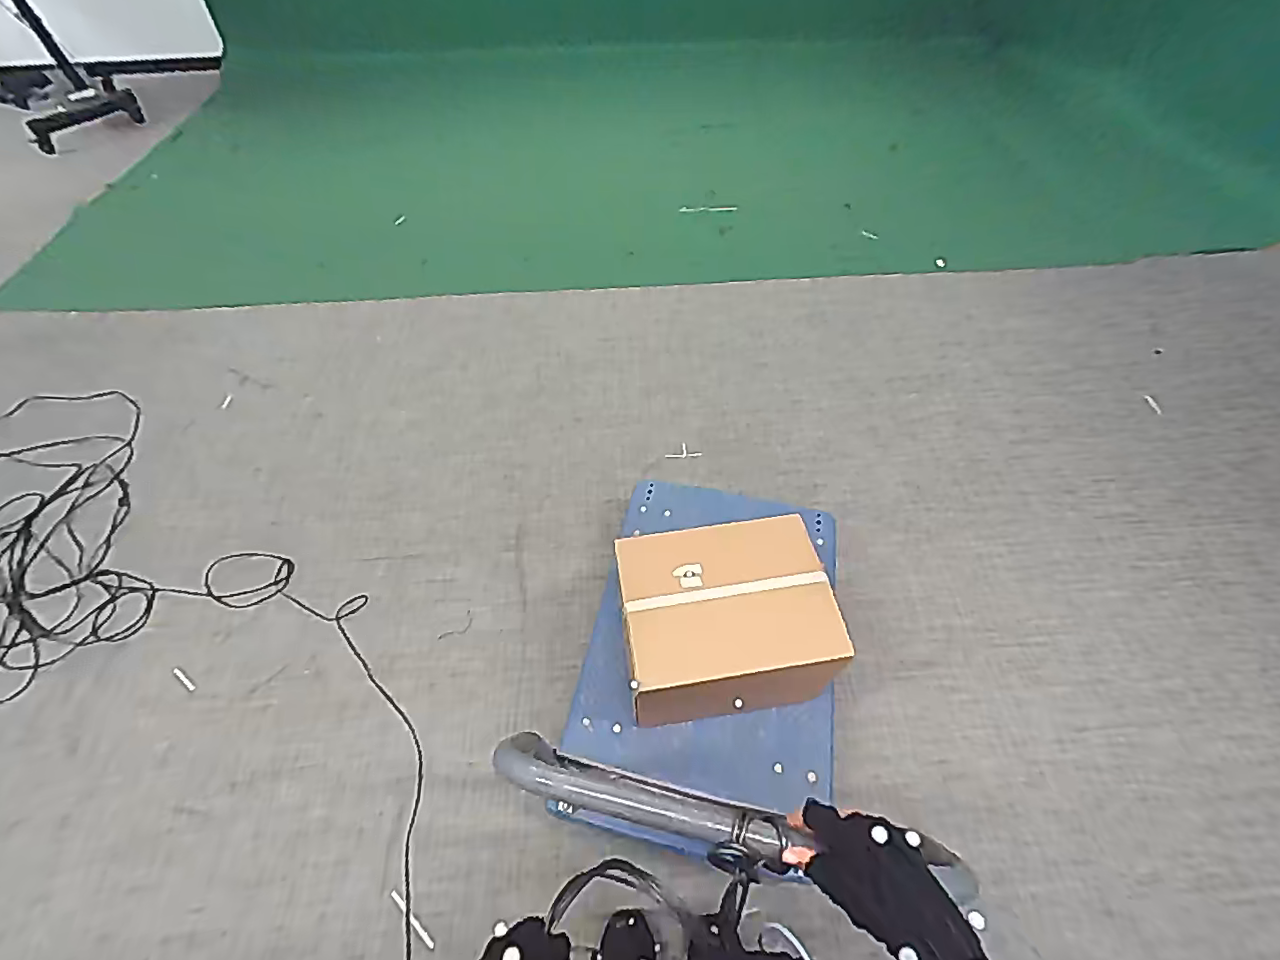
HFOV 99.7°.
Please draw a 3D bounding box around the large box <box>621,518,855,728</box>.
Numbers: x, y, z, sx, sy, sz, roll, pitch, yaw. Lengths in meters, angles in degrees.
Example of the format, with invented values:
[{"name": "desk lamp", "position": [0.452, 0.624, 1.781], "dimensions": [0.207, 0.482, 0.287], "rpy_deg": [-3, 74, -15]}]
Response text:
[{"name": "large box", "position": [0.184, 0.319, 1.185], "dimensions": [0.408, 0.320, 0.320], "rpy_deg": [-8, 54, -5]}]
